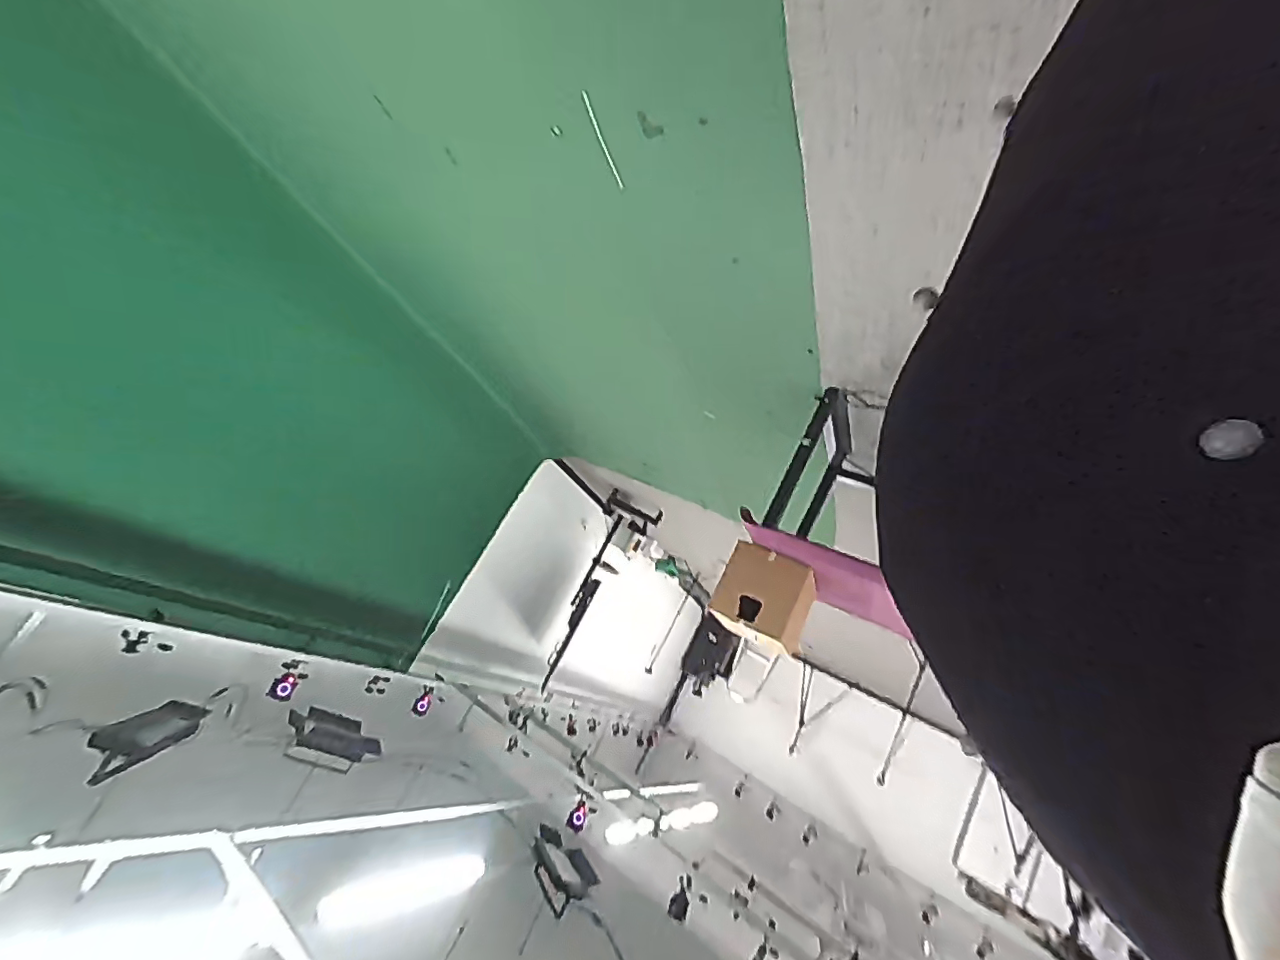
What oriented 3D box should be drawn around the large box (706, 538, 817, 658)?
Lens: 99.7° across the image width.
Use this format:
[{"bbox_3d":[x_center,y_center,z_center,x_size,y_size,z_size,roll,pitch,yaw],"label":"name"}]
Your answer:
[{"bbox_3d":[0.518,0.492,2.235,0.320,0.320,0.408,20,162,29],"label":"large box"}]
